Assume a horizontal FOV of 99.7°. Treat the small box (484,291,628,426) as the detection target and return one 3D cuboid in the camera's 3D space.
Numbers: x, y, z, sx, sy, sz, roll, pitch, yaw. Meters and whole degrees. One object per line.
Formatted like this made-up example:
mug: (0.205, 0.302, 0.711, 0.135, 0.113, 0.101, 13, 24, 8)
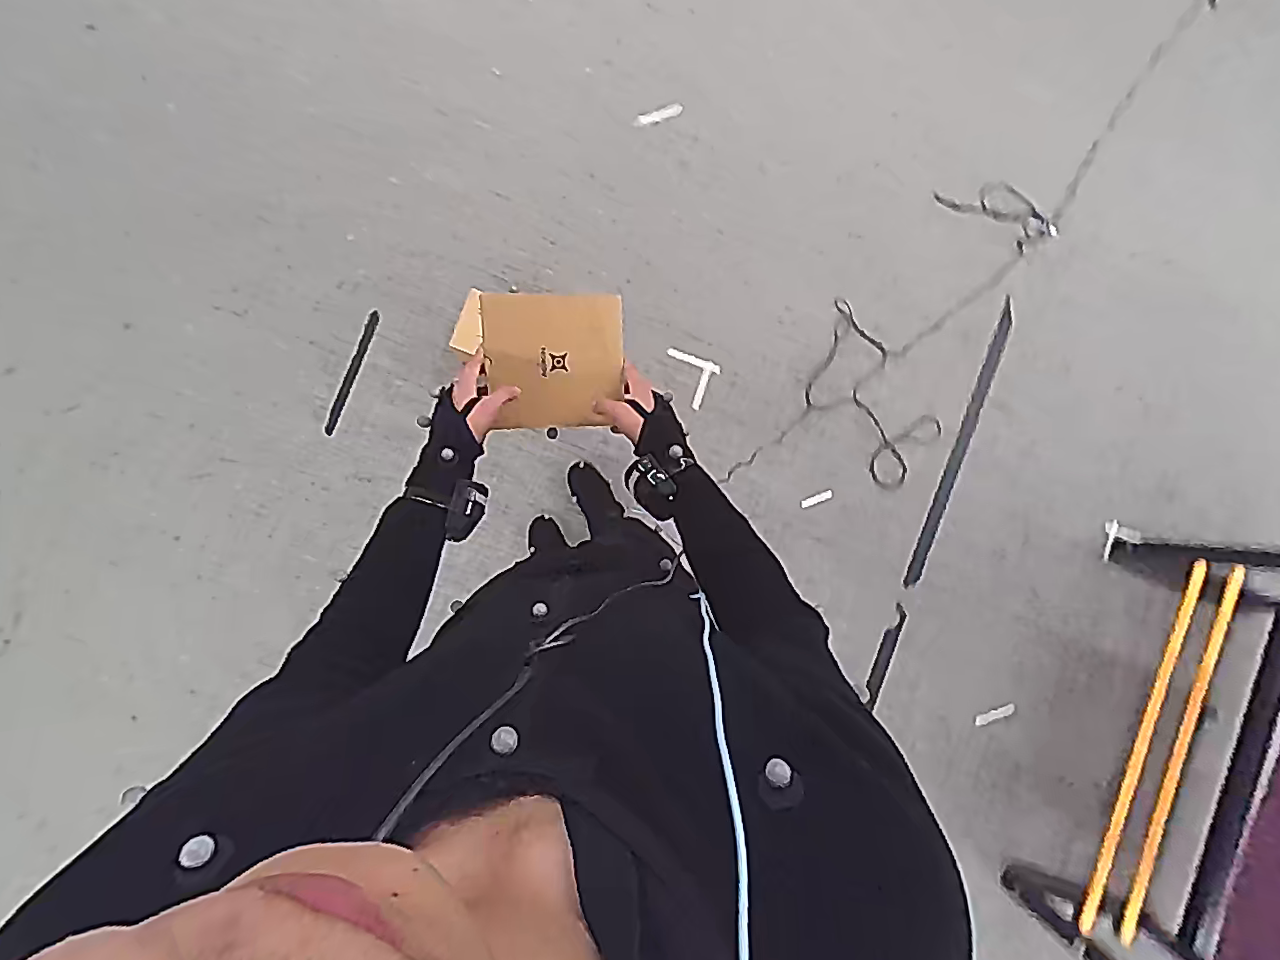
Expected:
small box: (-0.113, -0.165, 0.753, 0.179, 0.176, 0.168, -2, 101, -7)
